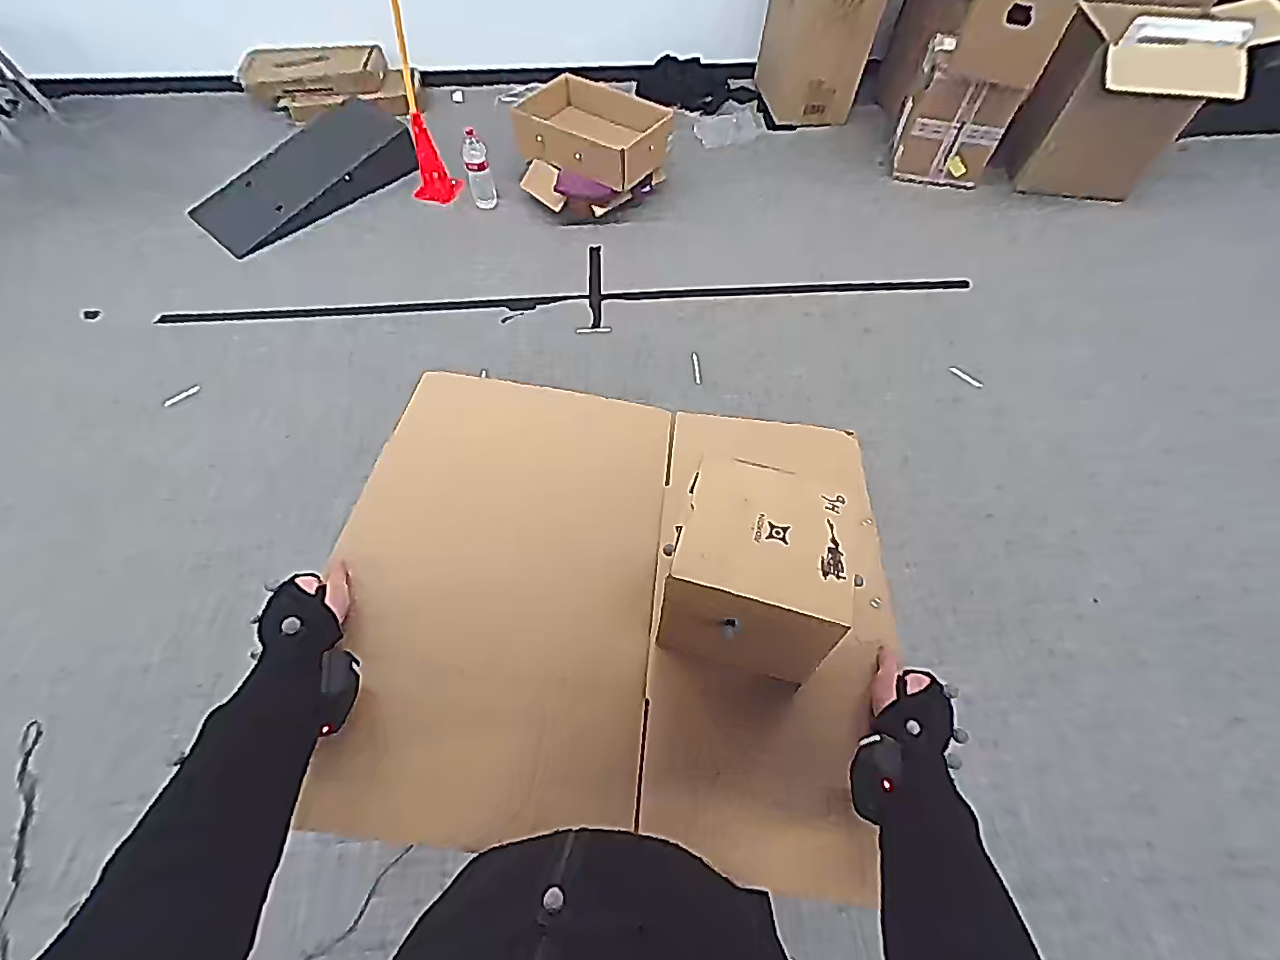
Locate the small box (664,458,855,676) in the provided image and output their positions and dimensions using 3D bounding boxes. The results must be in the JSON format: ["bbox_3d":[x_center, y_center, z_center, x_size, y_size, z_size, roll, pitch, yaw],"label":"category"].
[{"bbox_3d":[0.130,0.104,0.621,0.179,0.176,0.168,14,53,9],"label":"small box"}]
